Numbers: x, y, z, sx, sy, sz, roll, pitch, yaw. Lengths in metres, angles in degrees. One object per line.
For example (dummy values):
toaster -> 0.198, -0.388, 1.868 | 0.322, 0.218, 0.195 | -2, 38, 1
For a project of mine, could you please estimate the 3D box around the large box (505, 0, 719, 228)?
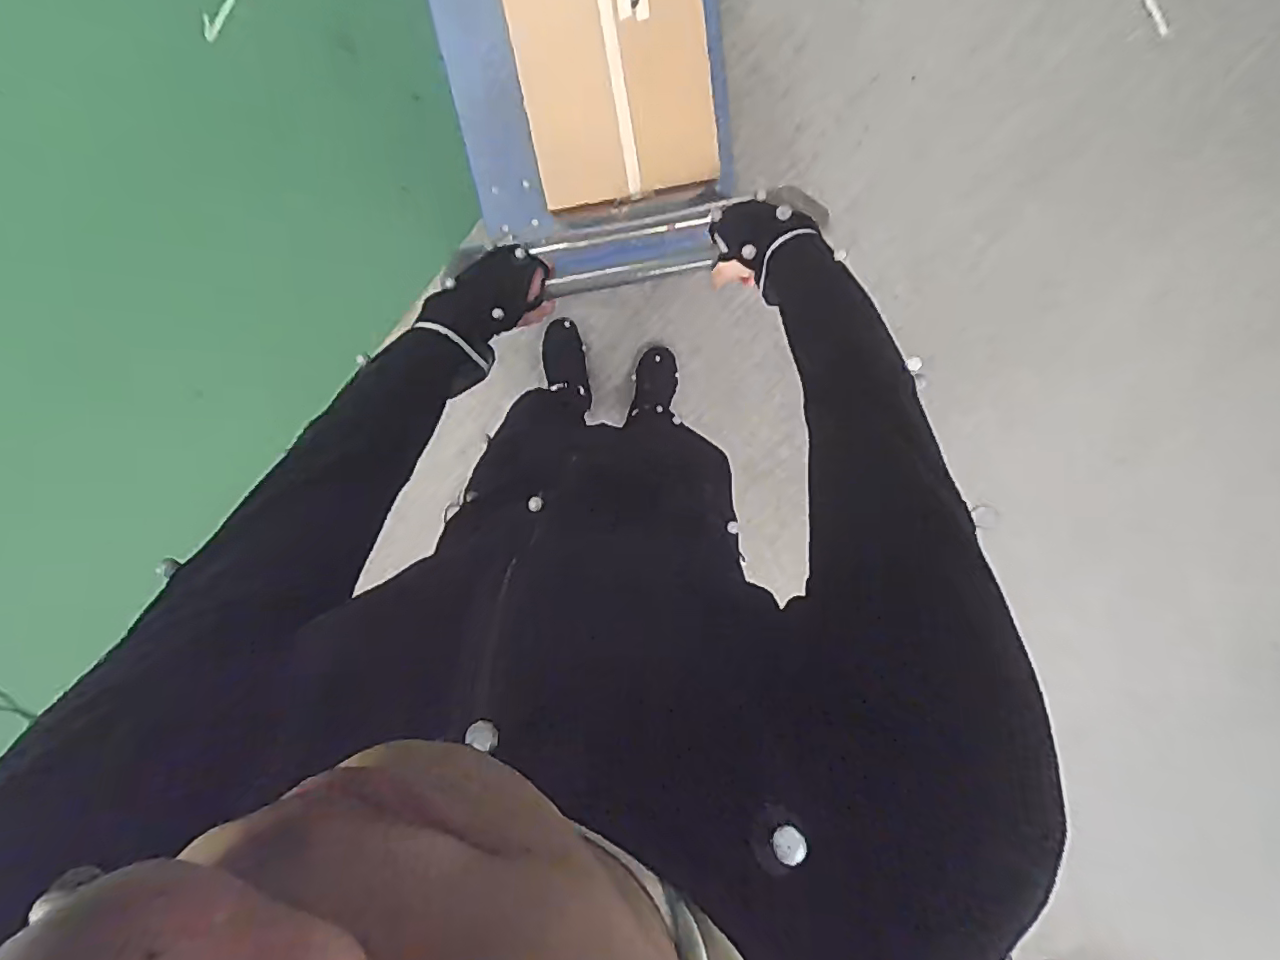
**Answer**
large box -> -0.049, -0.739, 1.040 | 0.320, 0.320, 0.408 | -11, 111, 0
